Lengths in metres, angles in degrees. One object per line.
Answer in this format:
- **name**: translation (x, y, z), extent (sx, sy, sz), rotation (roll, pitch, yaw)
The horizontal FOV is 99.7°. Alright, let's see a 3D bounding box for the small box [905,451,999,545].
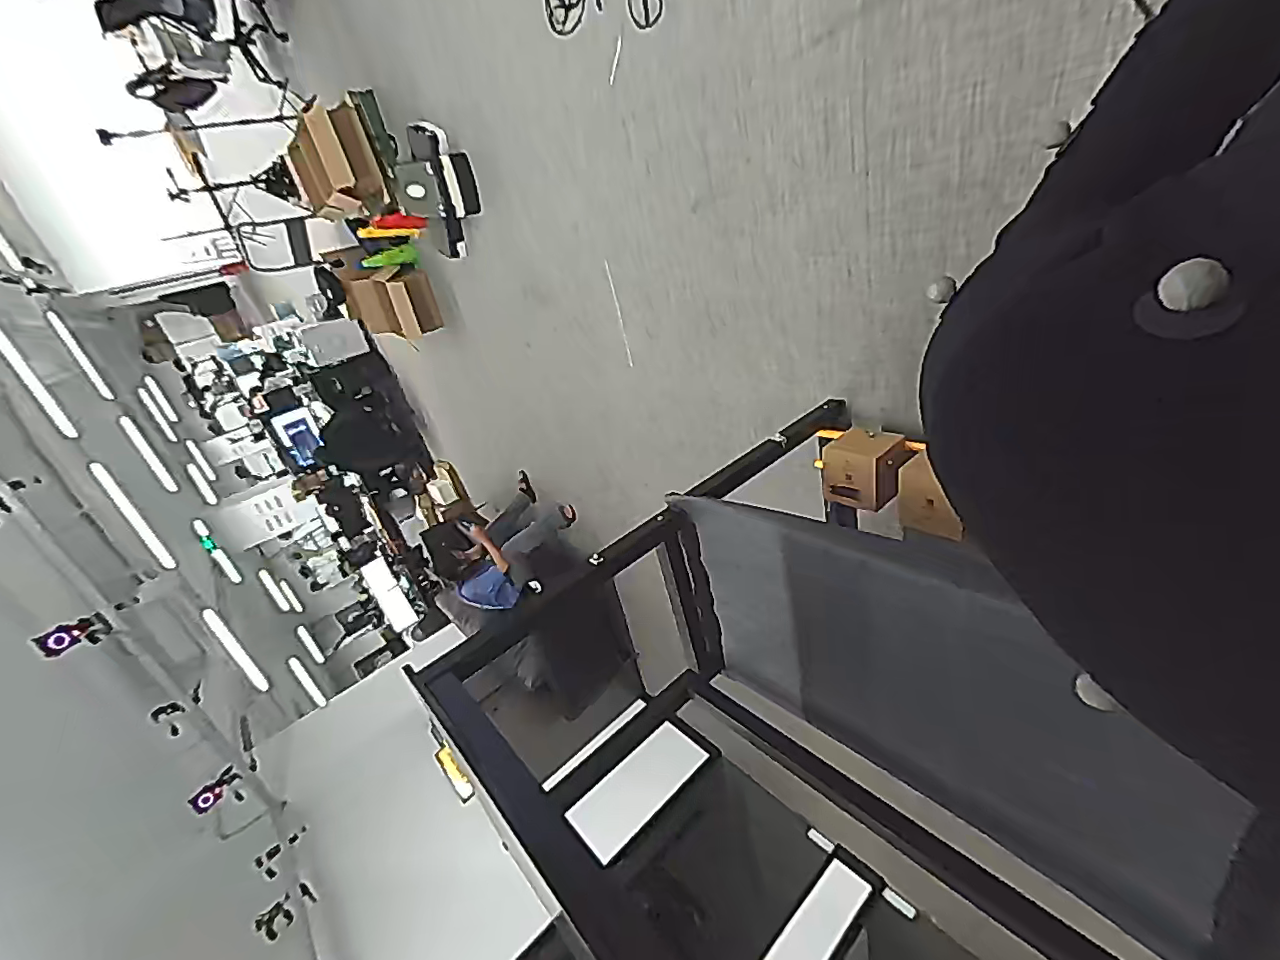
- **small box**: translation (0.815, 0.038, 1.415), extent (0.168, 0.176, 0.179), rotation (17, 129, 48)
